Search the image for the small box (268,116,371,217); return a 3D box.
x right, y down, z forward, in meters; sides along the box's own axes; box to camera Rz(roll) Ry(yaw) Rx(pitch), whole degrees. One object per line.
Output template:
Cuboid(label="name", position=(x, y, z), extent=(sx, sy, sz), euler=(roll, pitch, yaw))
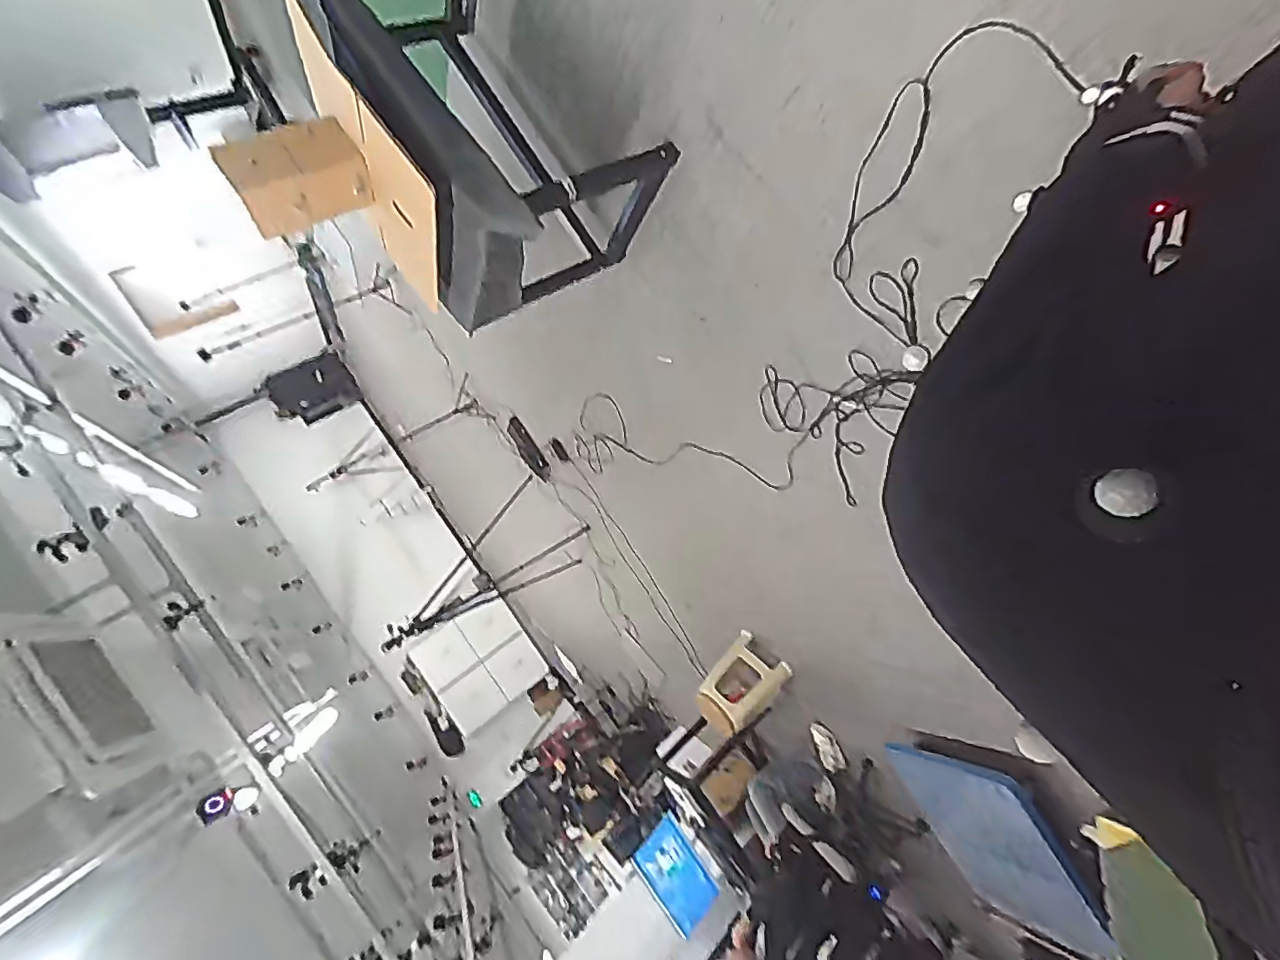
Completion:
Cuboid(label="small box", position=(-0.899, -0.894, 1.533), extent=(0.179, 0.176, 0.168), euler=(51, 158, 7))

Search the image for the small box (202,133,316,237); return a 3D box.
Cuboid(label="small box", position=(-1.025, -0.807, 1.472), extent=(0.179, 0.176, 0.168), euler=(51, 158, 8))
